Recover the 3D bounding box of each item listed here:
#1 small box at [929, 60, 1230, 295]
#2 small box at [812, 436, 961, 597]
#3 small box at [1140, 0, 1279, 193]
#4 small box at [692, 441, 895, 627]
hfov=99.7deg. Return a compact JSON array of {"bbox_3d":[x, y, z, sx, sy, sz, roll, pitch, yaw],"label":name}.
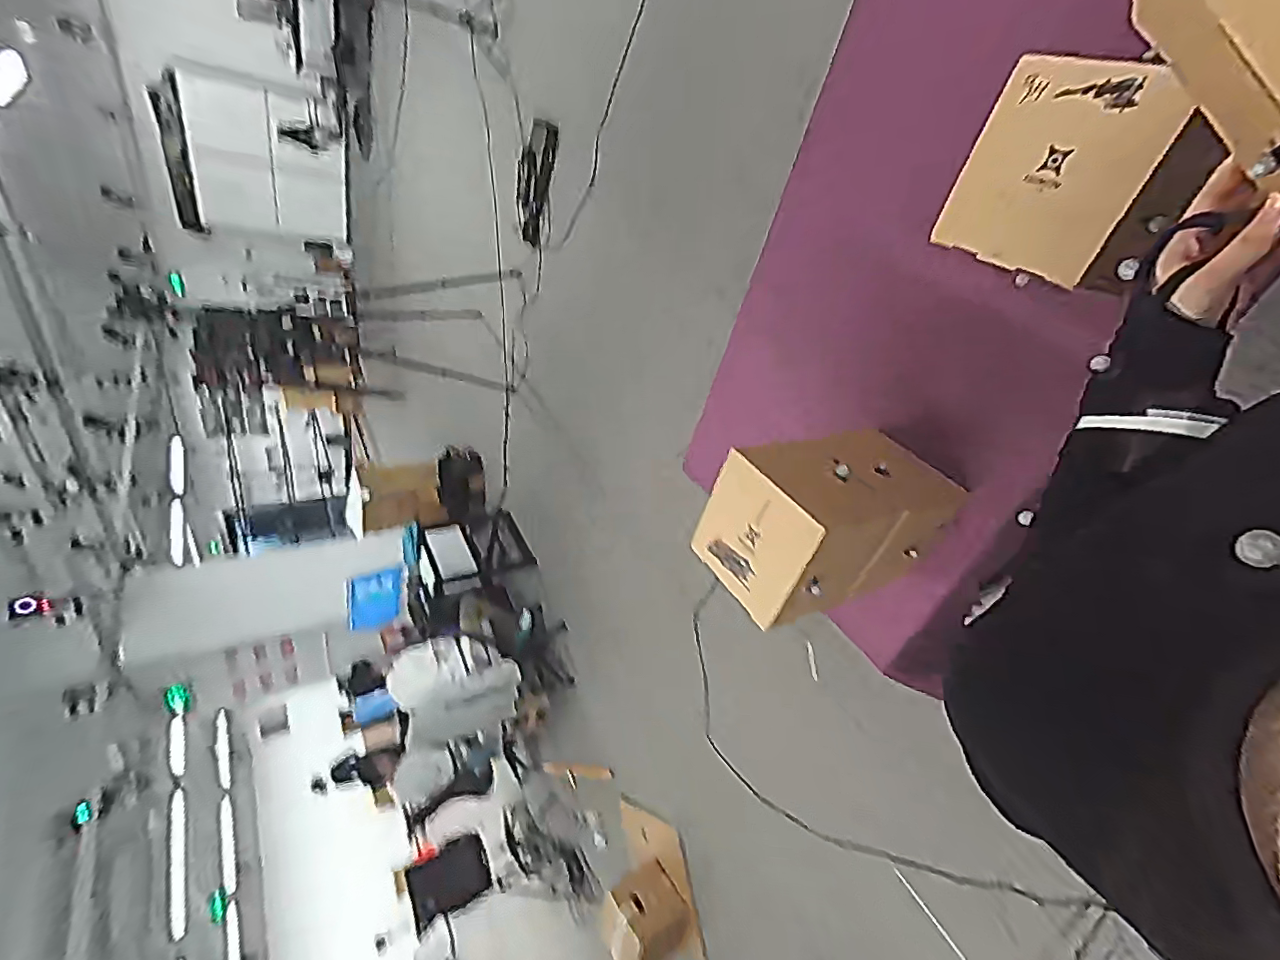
[{"bbox_3d":[0.460,-0.308,0.573,0.168,0.176,0.179,48,134,39],"label":"small box"},{"bbox_3d":[0.338,0.044,0.821,0.179,0.176,0.168,49,133,39],"label":"small box"},{"bbox_3d":[0.385,-0.262,0.260,0.168,0.176,0.179,-34,87,45],"label":"small box"},{"bbox_3d":[0.204,0.064,0.729,0.168,0.176,0.179,49,133,39],"label":"small box"}]
